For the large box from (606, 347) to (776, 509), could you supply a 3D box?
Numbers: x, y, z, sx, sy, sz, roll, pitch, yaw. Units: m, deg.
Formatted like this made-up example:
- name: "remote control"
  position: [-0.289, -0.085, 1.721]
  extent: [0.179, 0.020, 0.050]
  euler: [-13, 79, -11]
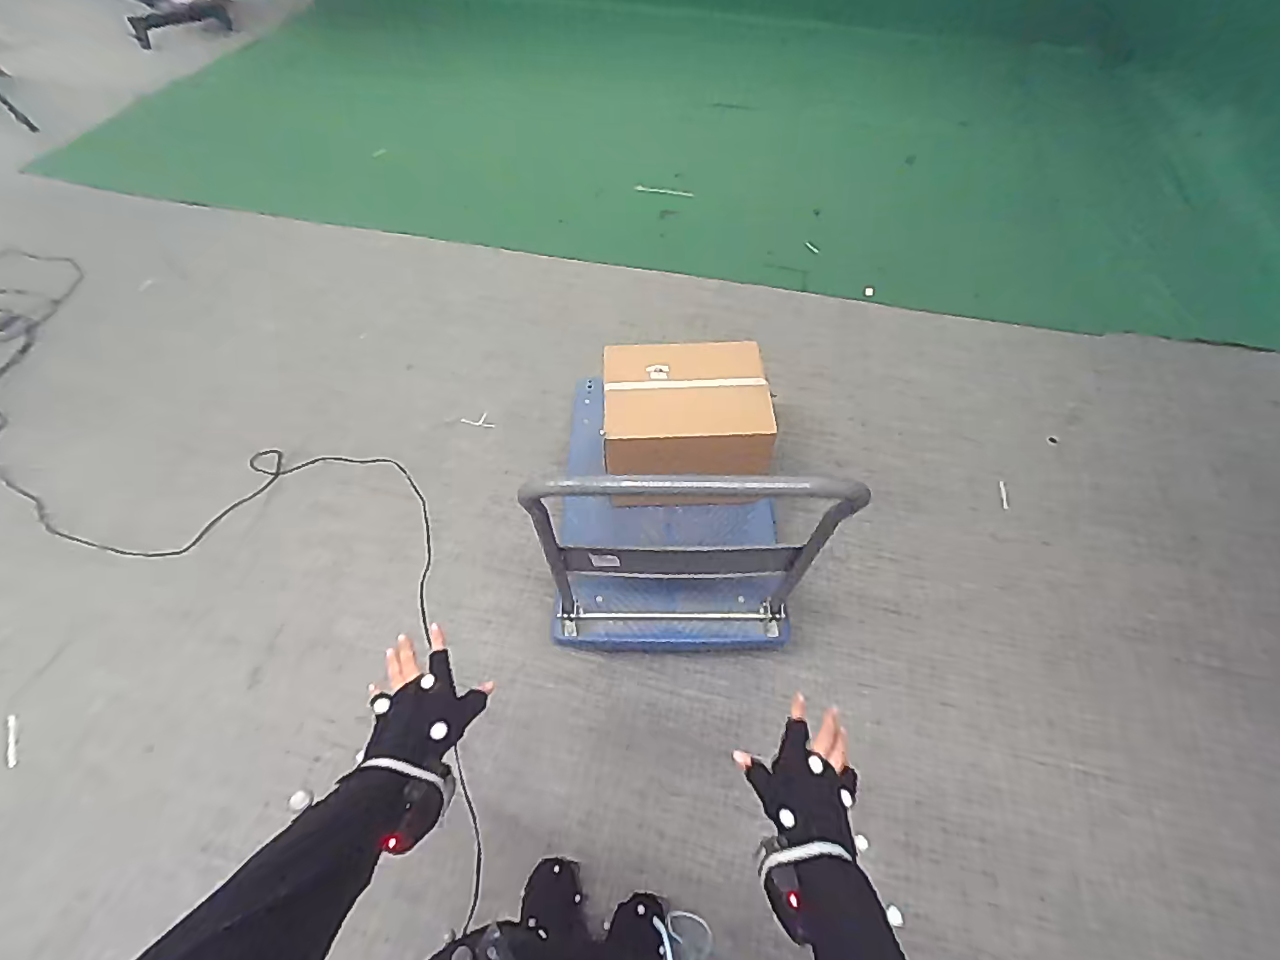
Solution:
- name: "large box"
  position: [0.119, -0.133, 1.467]
  extent: [0.408, 0.320, 0.320]
  euler: [-2, 55, 0]
